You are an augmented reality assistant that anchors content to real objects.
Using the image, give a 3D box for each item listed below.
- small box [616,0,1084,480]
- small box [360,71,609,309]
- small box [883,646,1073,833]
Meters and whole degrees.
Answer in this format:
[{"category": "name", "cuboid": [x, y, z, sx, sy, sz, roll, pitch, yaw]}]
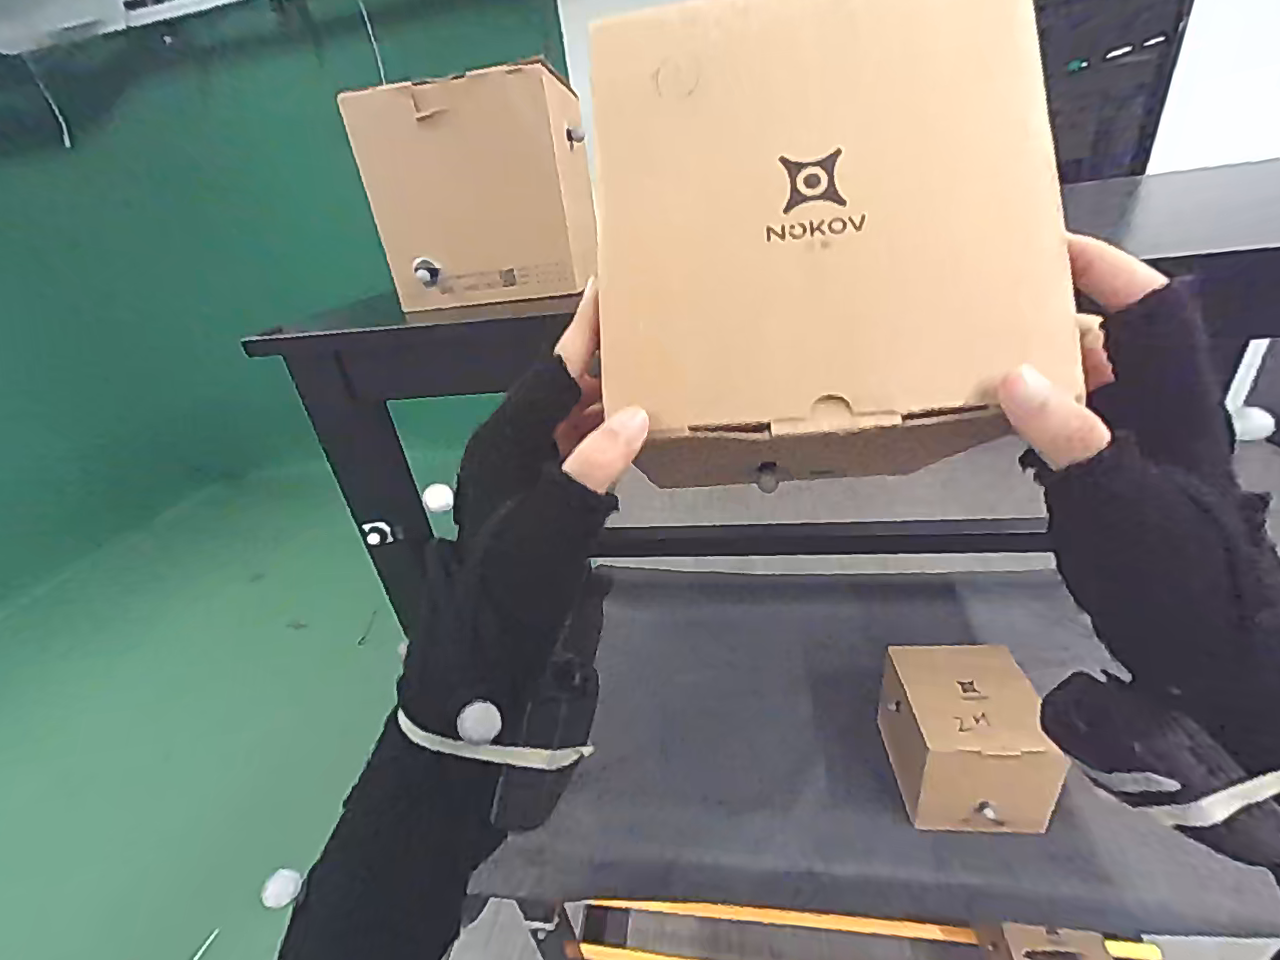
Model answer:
[{"category": "small box", "cuboid": [0.082, -0.100, 0.288, 0.168, 0.179, 0.176, -3, -7, 8]}, {"category": "small box", "cuboid": [-0.128, -0.269, 0.529, 0.168, 0.176, 0.179, -4, 27, 6]}, {"category": "small box", "cuboid": [0.457, 0.359, 0.767, 0.168, 0.176, 0.179, -4, 27, 9]}]
